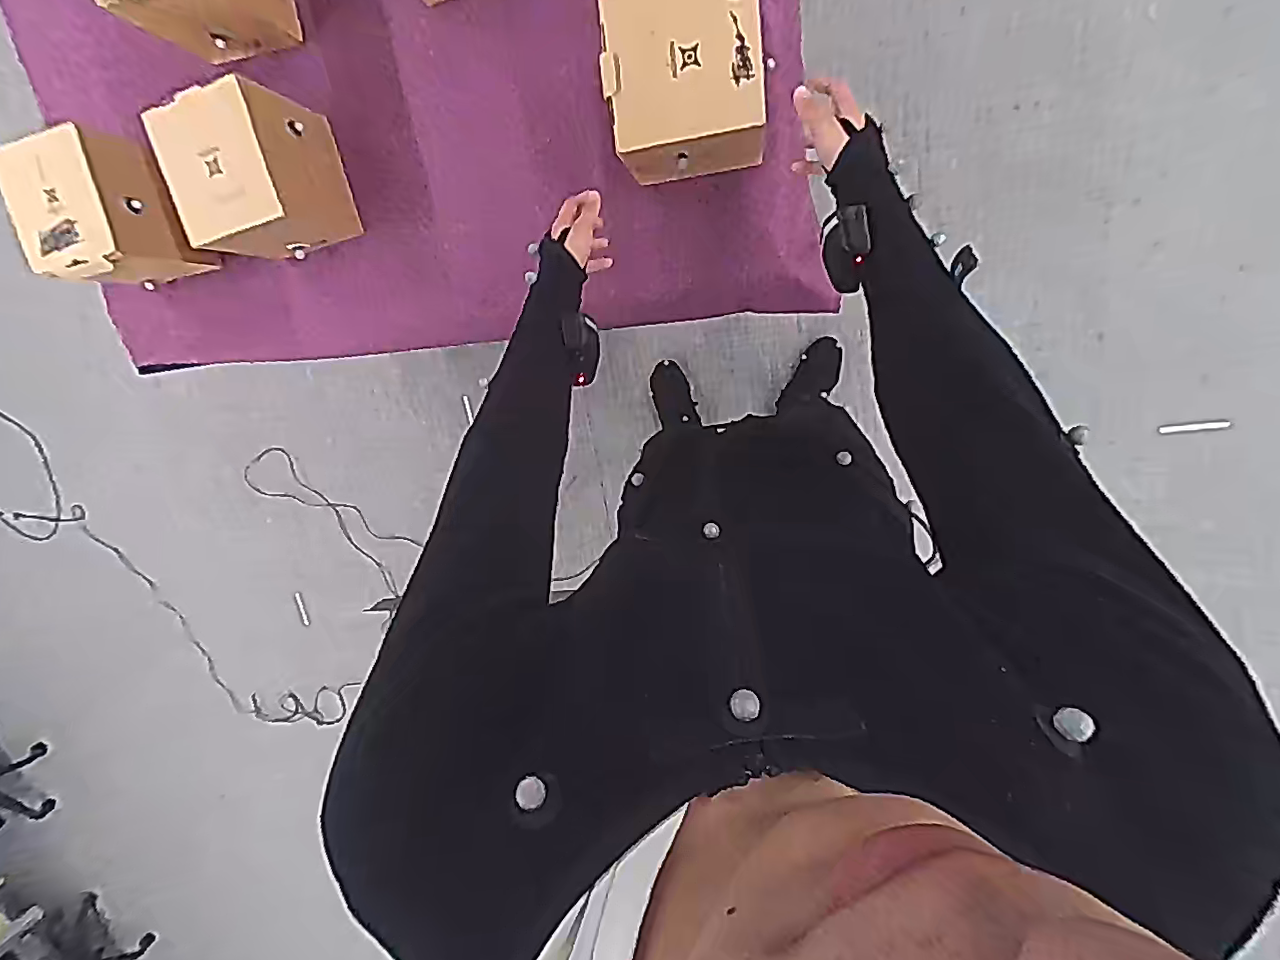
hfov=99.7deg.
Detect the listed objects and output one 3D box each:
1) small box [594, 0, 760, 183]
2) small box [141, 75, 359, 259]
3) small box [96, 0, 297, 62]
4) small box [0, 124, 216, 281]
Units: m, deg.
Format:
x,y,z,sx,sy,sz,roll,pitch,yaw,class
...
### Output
x,y,z,sx,sy,sz,roll,pitch,yaw,class
0.057,-0.491,0.676,0.179,0.176,0.168,-4,106,13,small box
-0.561,-0.446,0.803,0.168,0.176,0.179,-10,104,14,small box
-0.610,-0.714,0.729,0.168,0.176,0.179,-3,106,10,small box
-0.829,-0.420,0.856,0.168,0.176,0.179,-7,103,12,small box
